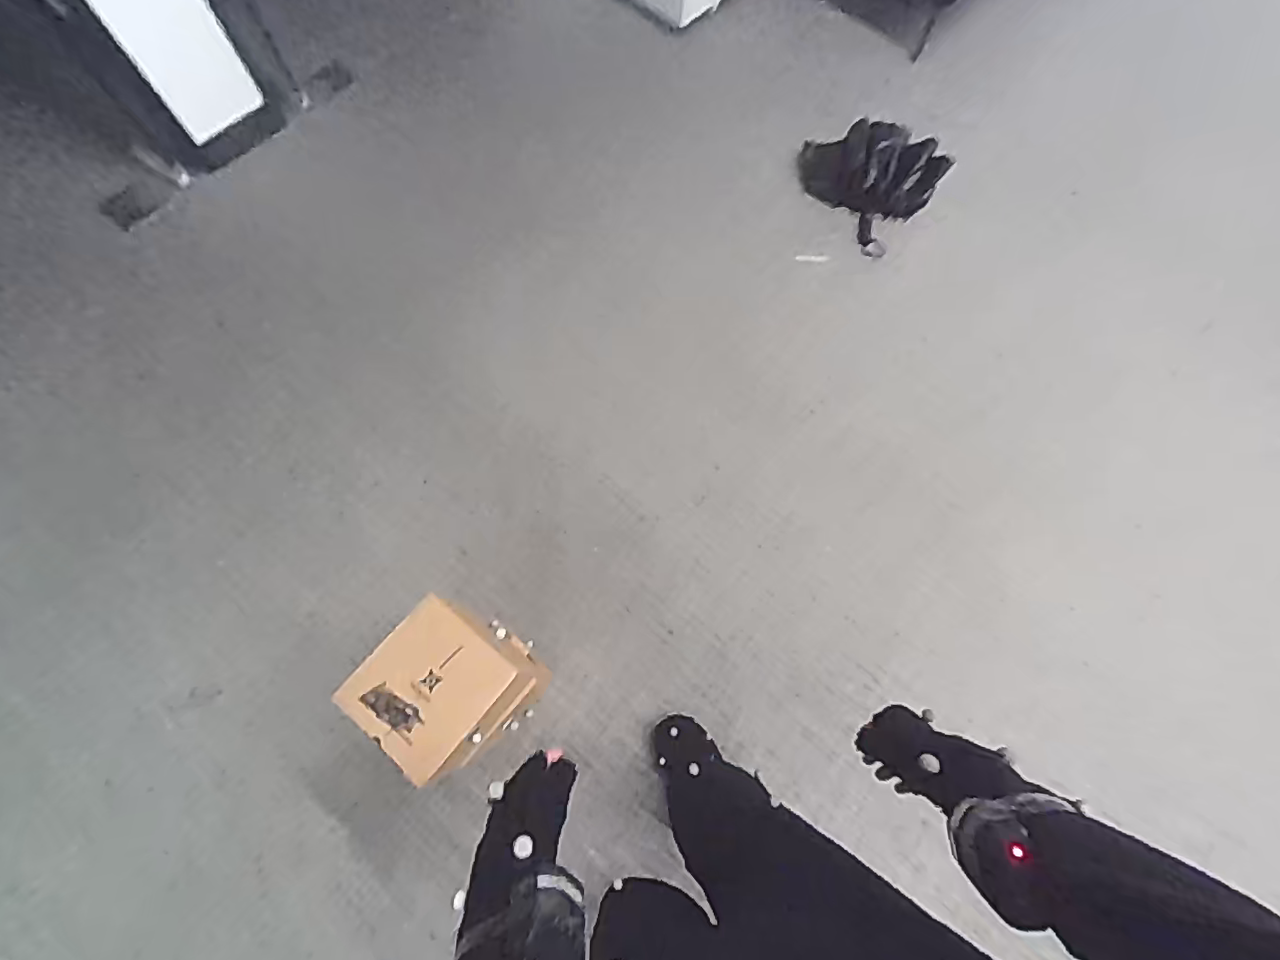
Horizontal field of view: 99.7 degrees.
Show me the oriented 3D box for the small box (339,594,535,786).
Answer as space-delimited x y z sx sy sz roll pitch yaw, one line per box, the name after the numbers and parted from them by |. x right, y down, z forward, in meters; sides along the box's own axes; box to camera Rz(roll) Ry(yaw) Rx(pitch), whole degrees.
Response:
-0.271 0.291 0.772 0.168 0.176 0.179 39 74 11 | small box

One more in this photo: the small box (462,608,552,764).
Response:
-0.273 0.346 0.927 0.179 0.176 0.168 41 76 10 | small box

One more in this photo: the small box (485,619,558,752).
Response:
-0.278 0.403 1.080 0.168 0.176 0.179 42 74 12 | small box
